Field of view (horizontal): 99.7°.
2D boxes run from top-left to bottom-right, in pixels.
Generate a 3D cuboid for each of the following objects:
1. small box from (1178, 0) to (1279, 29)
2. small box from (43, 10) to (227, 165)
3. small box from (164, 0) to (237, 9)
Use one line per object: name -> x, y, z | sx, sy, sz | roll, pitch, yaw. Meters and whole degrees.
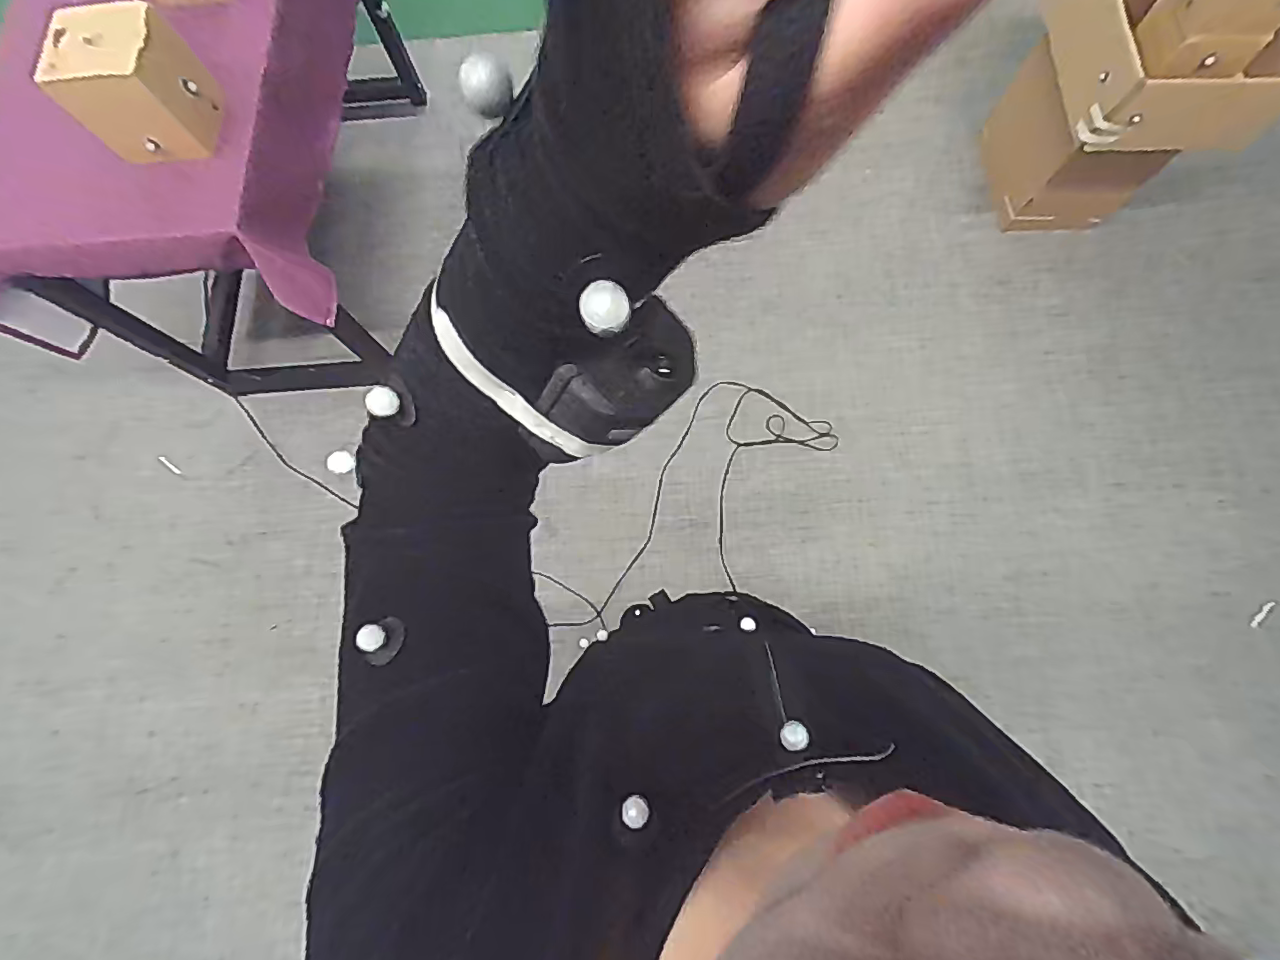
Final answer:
small box -> 1.231, -1.039, 1.070 | 0.179, 0.176, 0.168 | 2, 75, 5
small box -> -0.920, -0.720, 1.006 | 0.179, 0.176, 0.168 | -3, 75, 2
small box -> -0.955, -1.127, 1.114 | 0.168, 0.176, 0.179 | -2, 75, 3
